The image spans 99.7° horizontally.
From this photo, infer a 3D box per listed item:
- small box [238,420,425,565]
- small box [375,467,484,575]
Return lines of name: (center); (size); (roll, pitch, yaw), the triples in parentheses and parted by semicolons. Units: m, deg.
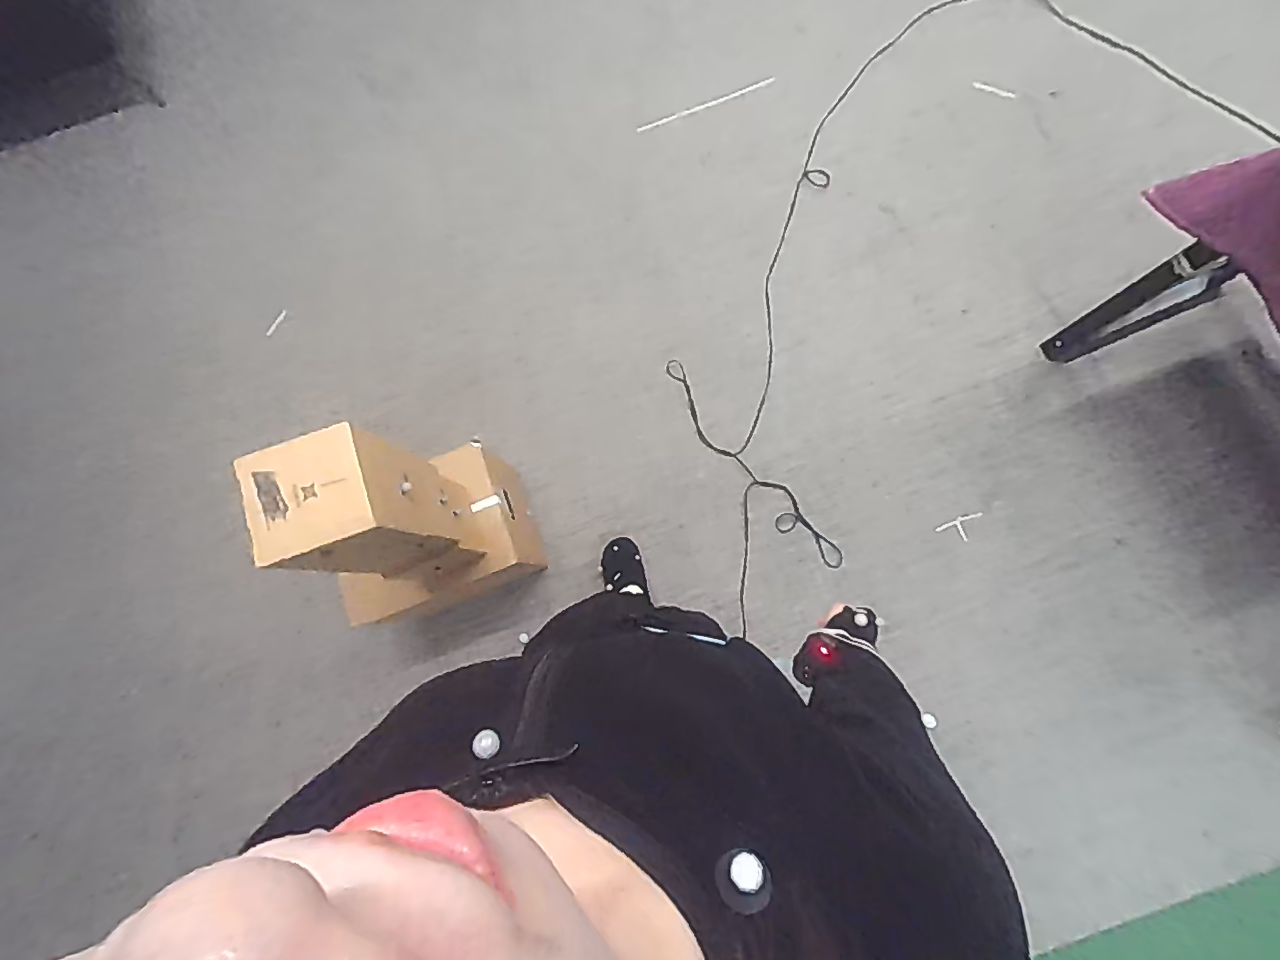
small box: (-0.467, 0.029, 0.841); (0.179, 0.176, 0.168); (-20, 81, -2)
small box: (-0.460, 0.095, 1.163); (0.168, 0.176, 0.179); (-23, 81, -1)
